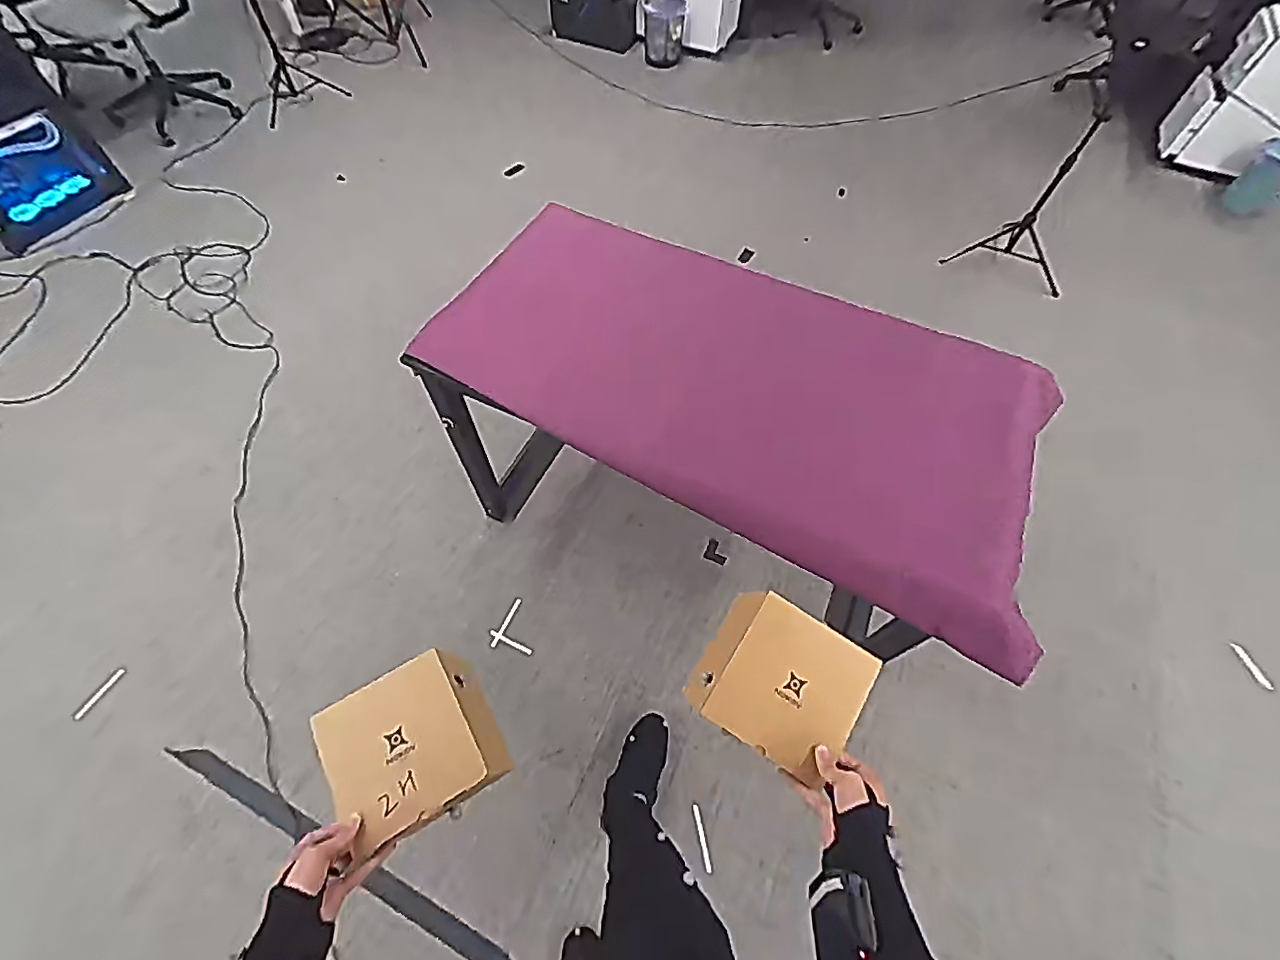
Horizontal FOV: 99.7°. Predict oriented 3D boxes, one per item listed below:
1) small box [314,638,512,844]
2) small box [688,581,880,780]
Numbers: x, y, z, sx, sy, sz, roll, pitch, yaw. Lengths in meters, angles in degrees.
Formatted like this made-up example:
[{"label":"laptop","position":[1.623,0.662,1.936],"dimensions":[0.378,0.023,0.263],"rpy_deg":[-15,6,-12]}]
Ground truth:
[{"label":"small box","position":[-0.292,0.340,0.724],"dimensions":[0.168,0.176,0.179],"rpy_deg":[-28,69,-13]},{"label":"small box","position":[0.180,0.255,0.732],"dimensions":[0.168,0.176,0.179],"rpy_deg":[32,78,5]}]
